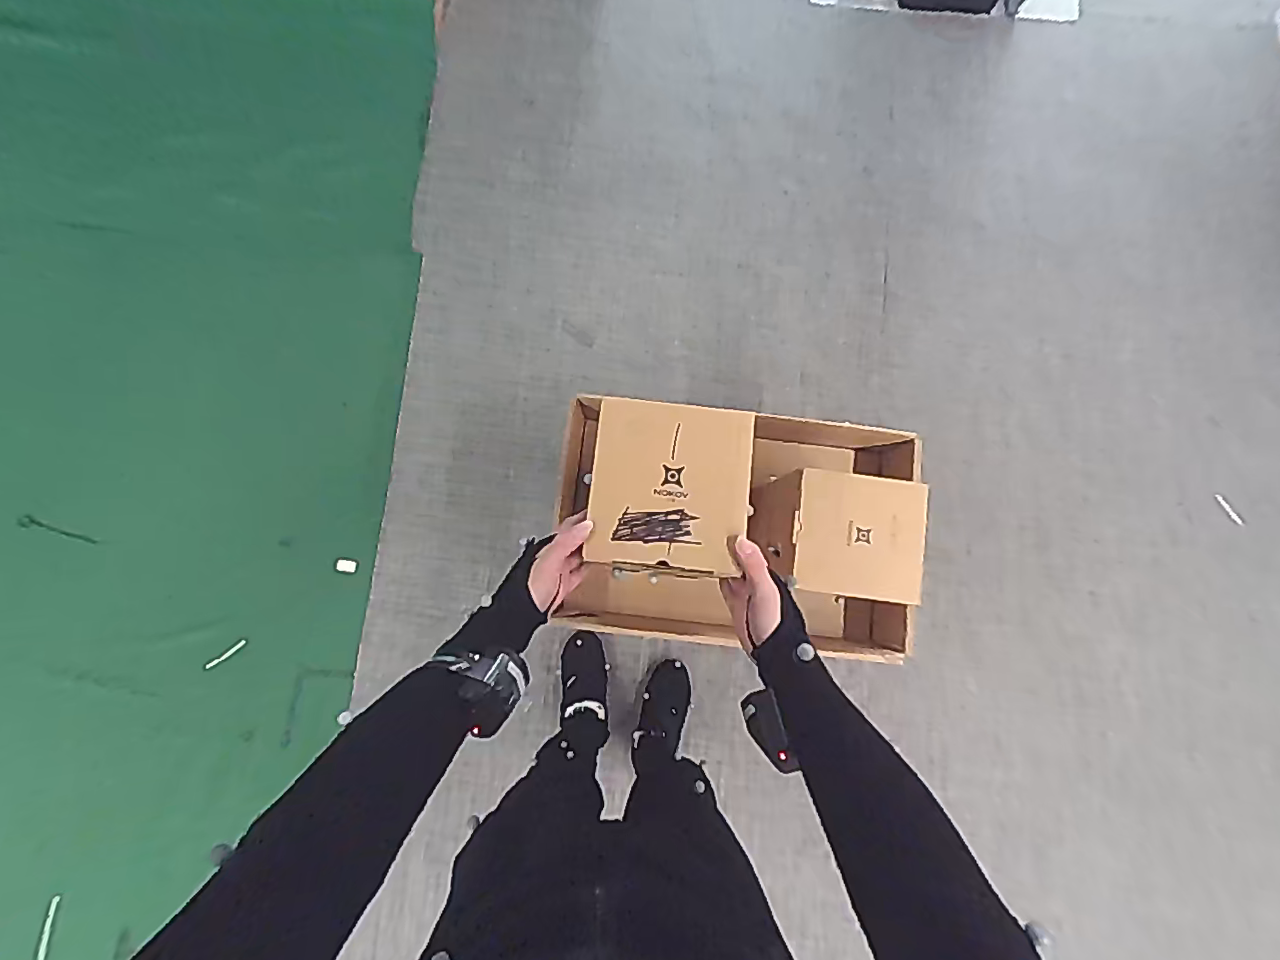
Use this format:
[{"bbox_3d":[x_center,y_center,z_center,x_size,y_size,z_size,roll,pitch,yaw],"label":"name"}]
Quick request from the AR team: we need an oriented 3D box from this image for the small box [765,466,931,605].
[{"bbox_3d":[0.293,0.082,0.797,0.179,0.176,0.168,8,84,-1],"label":"small box"}]

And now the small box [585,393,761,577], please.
[{"bbox_3d":[0.034,0.017,0.630,0.168,0.176,0.179,7,79,-1],"label":"small box"}]
